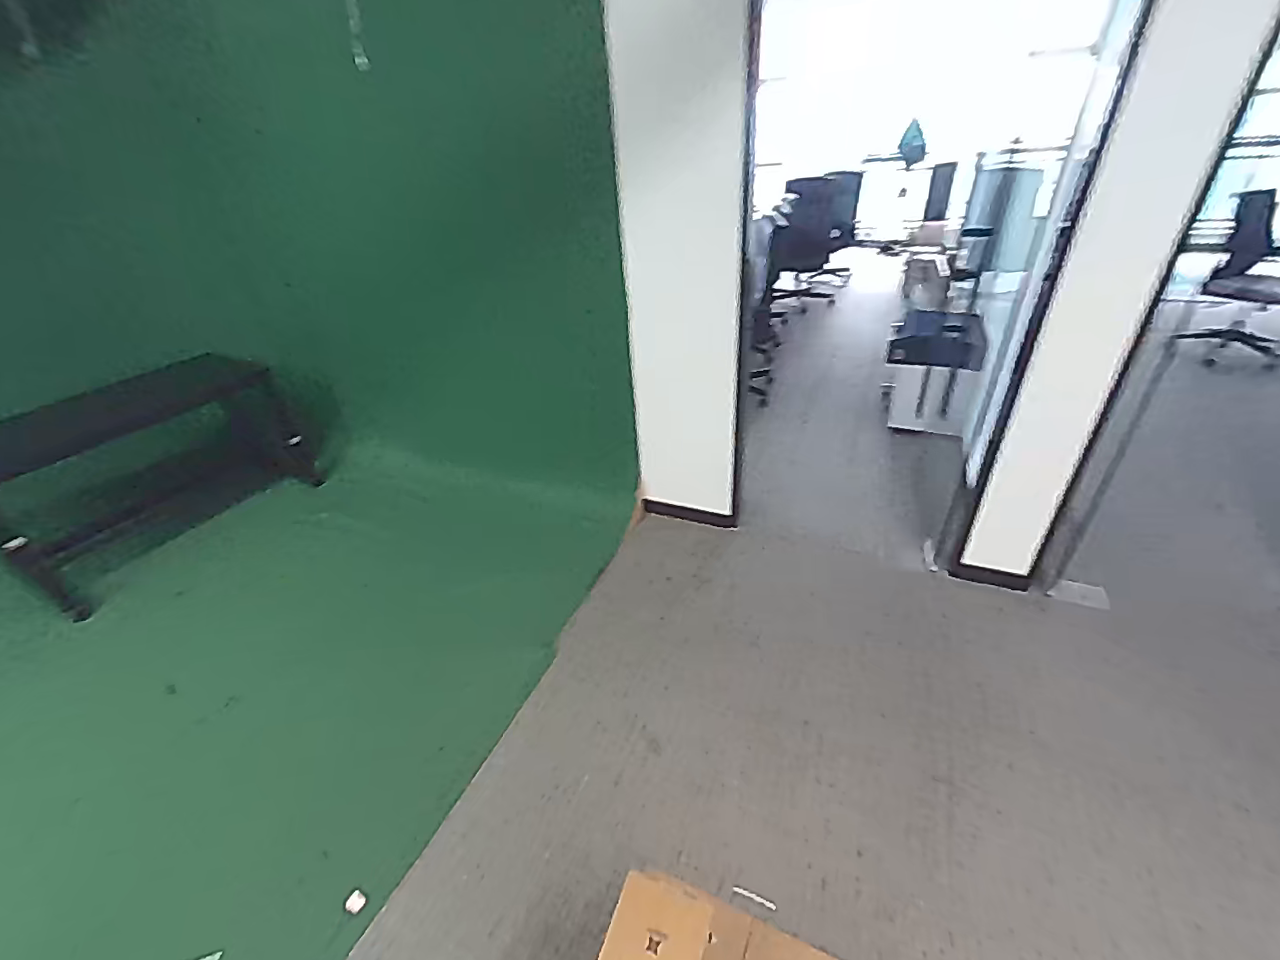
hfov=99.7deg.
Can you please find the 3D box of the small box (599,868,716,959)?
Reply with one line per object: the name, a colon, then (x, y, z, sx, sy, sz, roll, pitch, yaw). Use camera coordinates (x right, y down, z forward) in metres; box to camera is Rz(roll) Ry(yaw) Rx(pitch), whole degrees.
small box: (0.036, 0.848, 0.958, 0.168, 0.176, 0.179, 9, 35, 21)
